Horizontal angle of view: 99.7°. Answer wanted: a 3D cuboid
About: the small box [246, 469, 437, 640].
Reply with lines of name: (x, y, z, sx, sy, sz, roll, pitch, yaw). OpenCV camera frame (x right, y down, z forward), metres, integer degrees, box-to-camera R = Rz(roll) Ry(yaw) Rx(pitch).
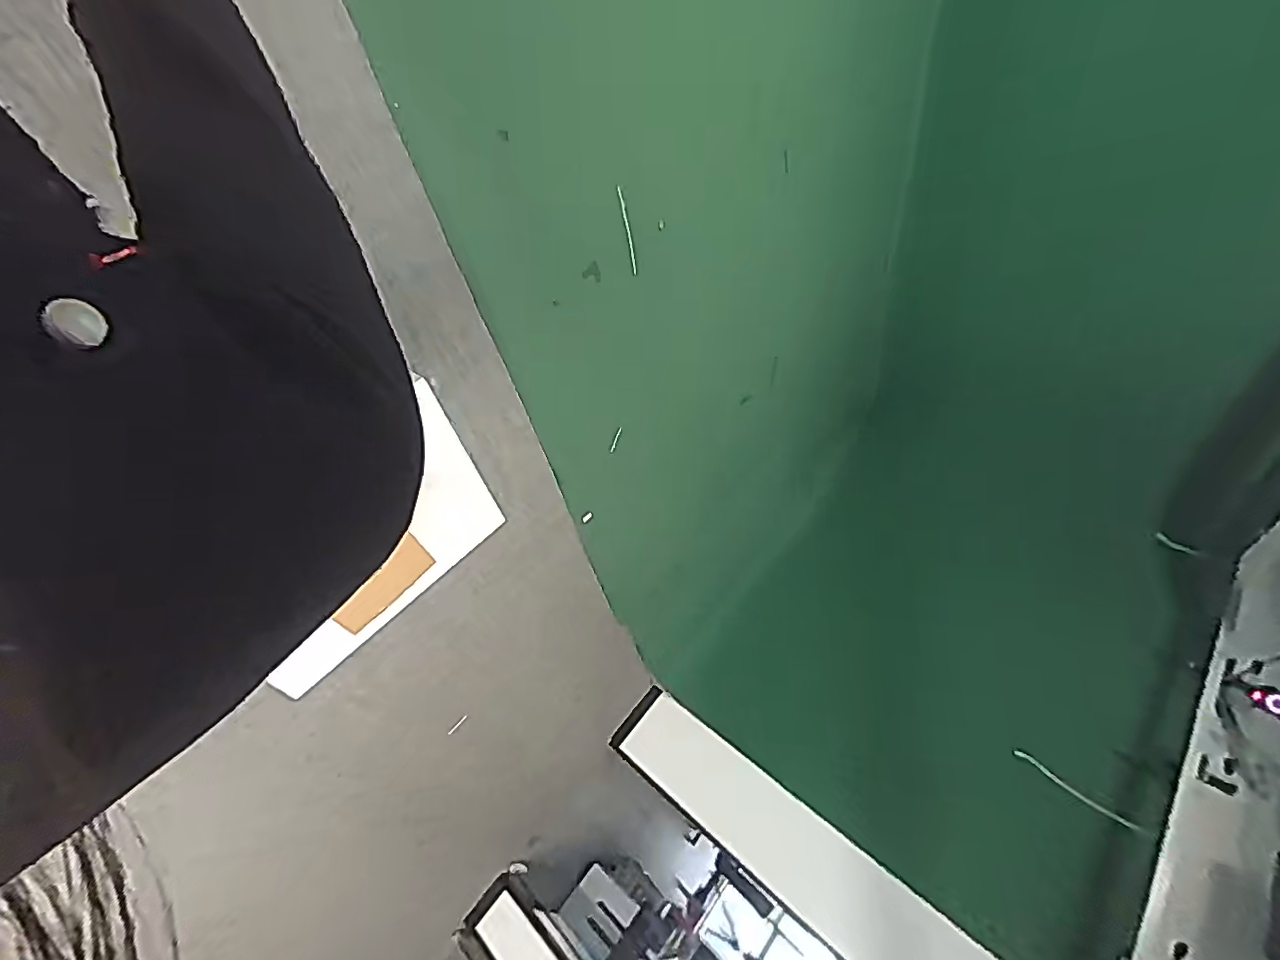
small box: (-0.464, 0.111, 0.850, 0.168, 0.176, 0.179, -46, 142, -23)
